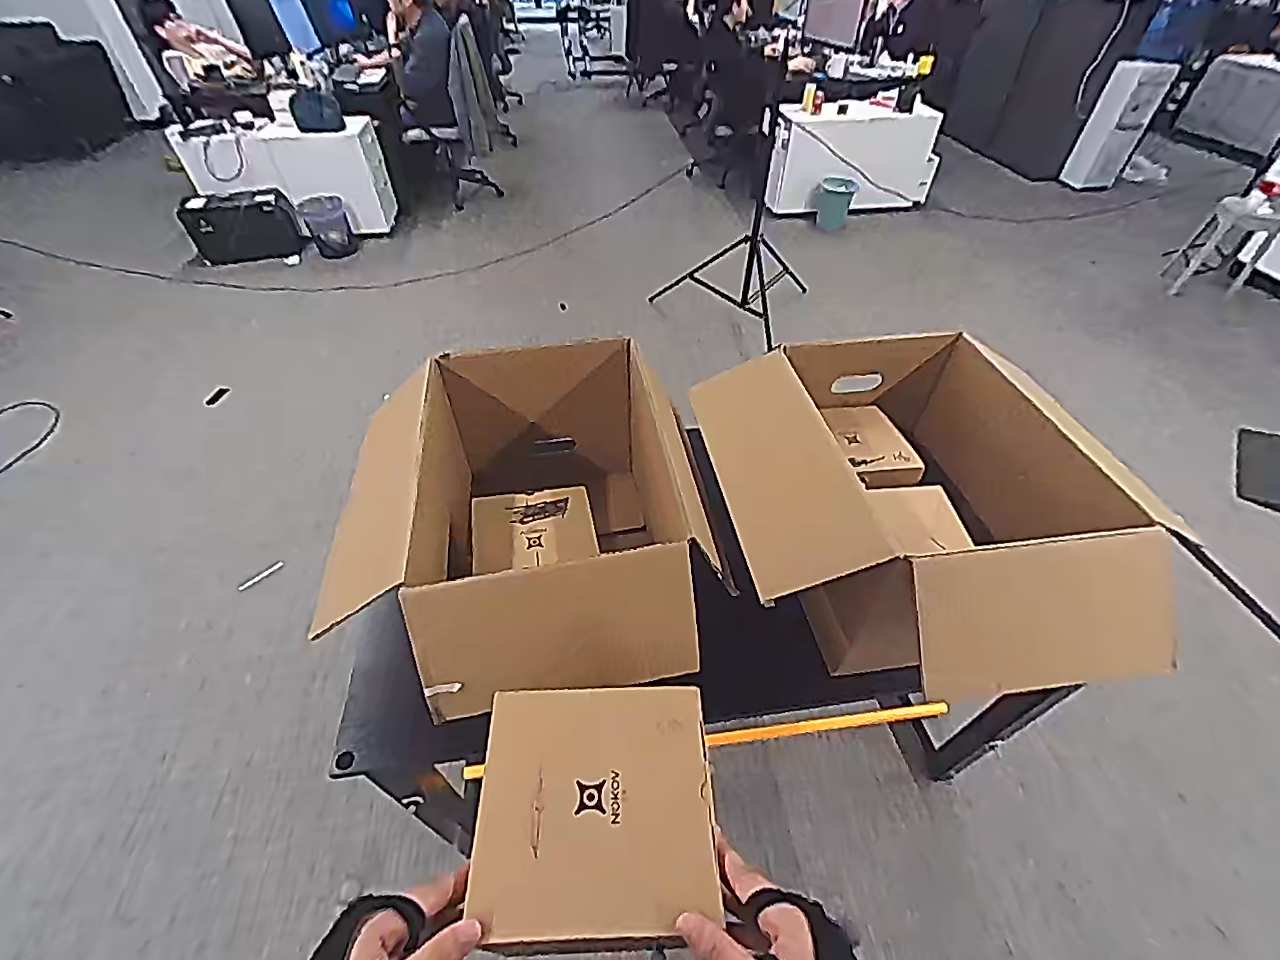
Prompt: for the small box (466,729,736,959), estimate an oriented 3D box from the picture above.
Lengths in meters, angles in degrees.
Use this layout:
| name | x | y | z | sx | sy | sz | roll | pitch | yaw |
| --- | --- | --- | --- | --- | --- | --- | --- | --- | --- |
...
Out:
| name | x | y | z | sx | sy | sz | roll | pitch | yaw |
| --- | --- | --- | --- | --- | --- | --- | --- | --- | --- |
| small box | -0.029 | 0.322 | 0.446 | 0.179 | 0.176 | 0.168 | -3 | 45 | -2 |
